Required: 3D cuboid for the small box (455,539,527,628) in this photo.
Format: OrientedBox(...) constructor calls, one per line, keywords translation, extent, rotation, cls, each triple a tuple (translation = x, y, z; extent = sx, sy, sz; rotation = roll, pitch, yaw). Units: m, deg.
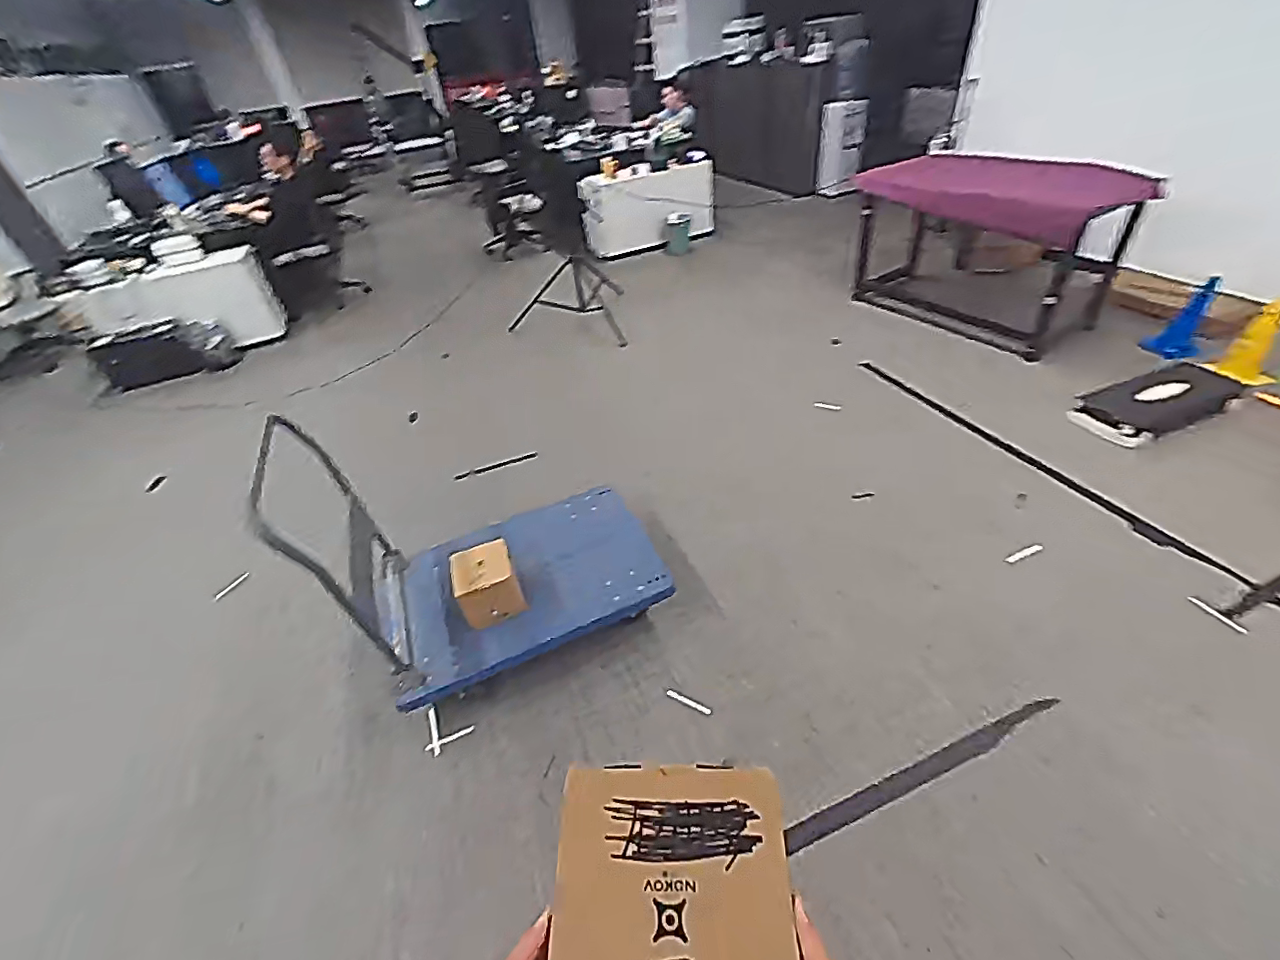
OrientedBox(translation=(-0.455, 0.317, 1.655), extent=(0.168, 0.176, 0.179), rotation=(-18, 41, -11), cls="small box")
